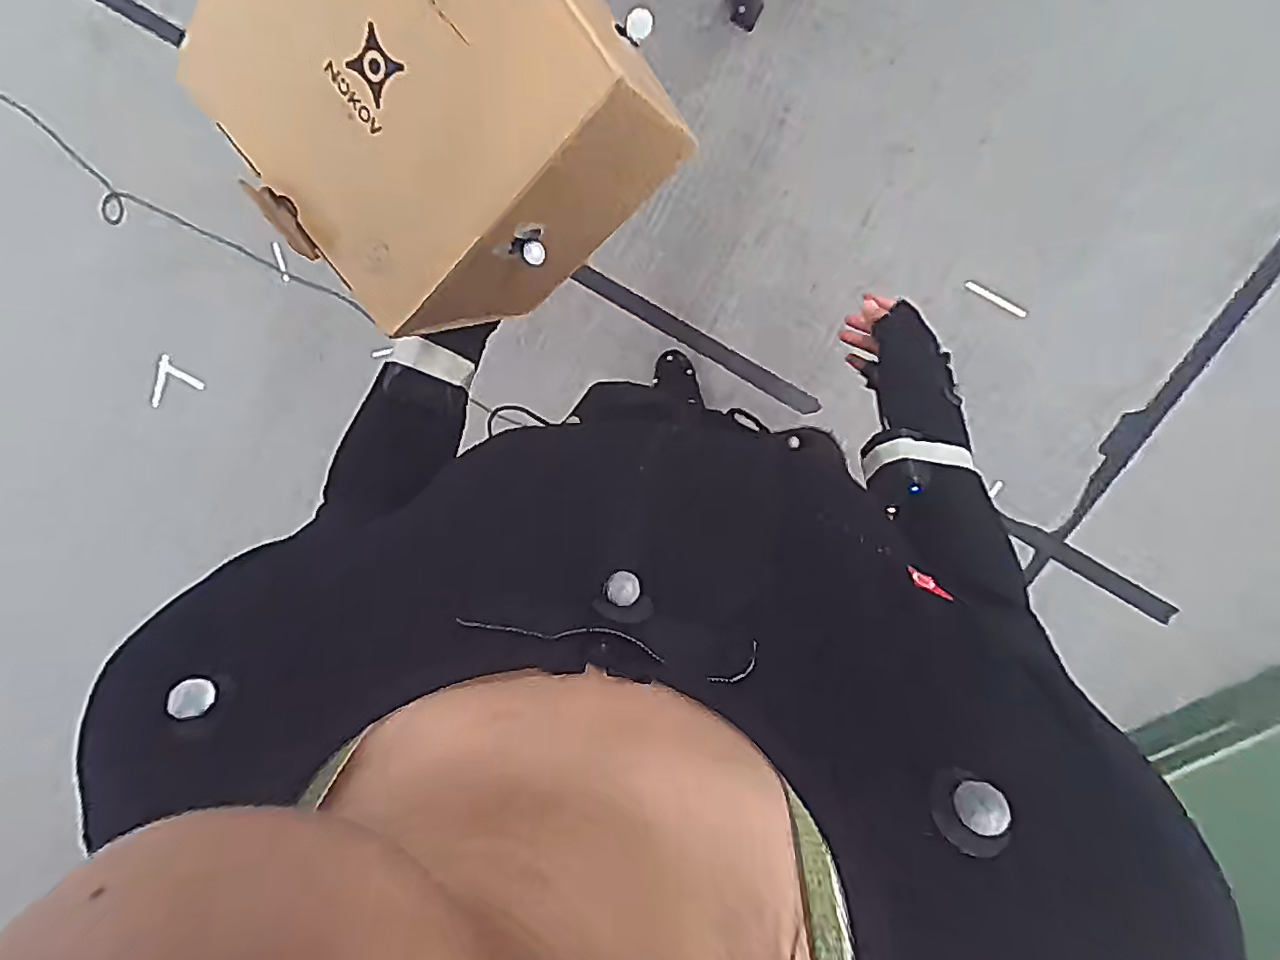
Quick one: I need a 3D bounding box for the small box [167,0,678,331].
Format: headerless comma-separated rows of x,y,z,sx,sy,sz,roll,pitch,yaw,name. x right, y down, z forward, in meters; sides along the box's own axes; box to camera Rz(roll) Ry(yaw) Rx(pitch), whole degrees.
-0.104,-0.213,0.312,0.179,0.176,0.168,-33,99,28,small box
